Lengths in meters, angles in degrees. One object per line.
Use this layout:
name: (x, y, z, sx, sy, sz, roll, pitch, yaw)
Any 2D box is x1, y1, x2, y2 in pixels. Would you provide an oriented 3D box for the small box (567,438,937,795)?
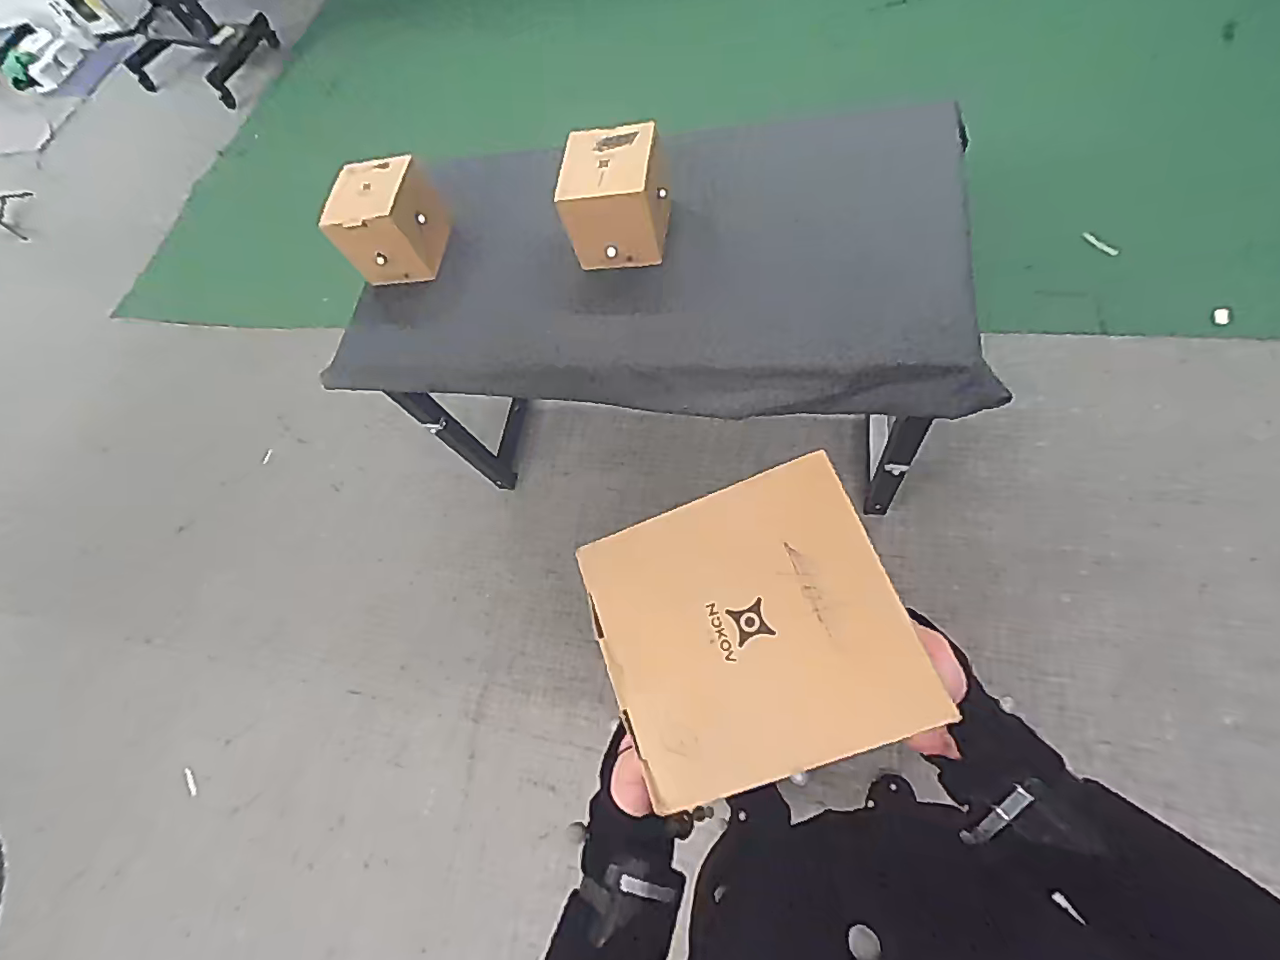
small box: (0.073, 0.097, 0.397, 0.179, 0.176, 0.168, -23, 72, 6)

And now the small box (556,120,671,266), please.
small box: (-0.039, -0.534, 1.022, 0.168, 0.176, 0.179, 2, 69, 15)

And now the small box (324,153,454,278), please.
small box: (-0.522, -0.550, 1.151, 0.168, 0.176, 0.179, 0, 68, 14)
